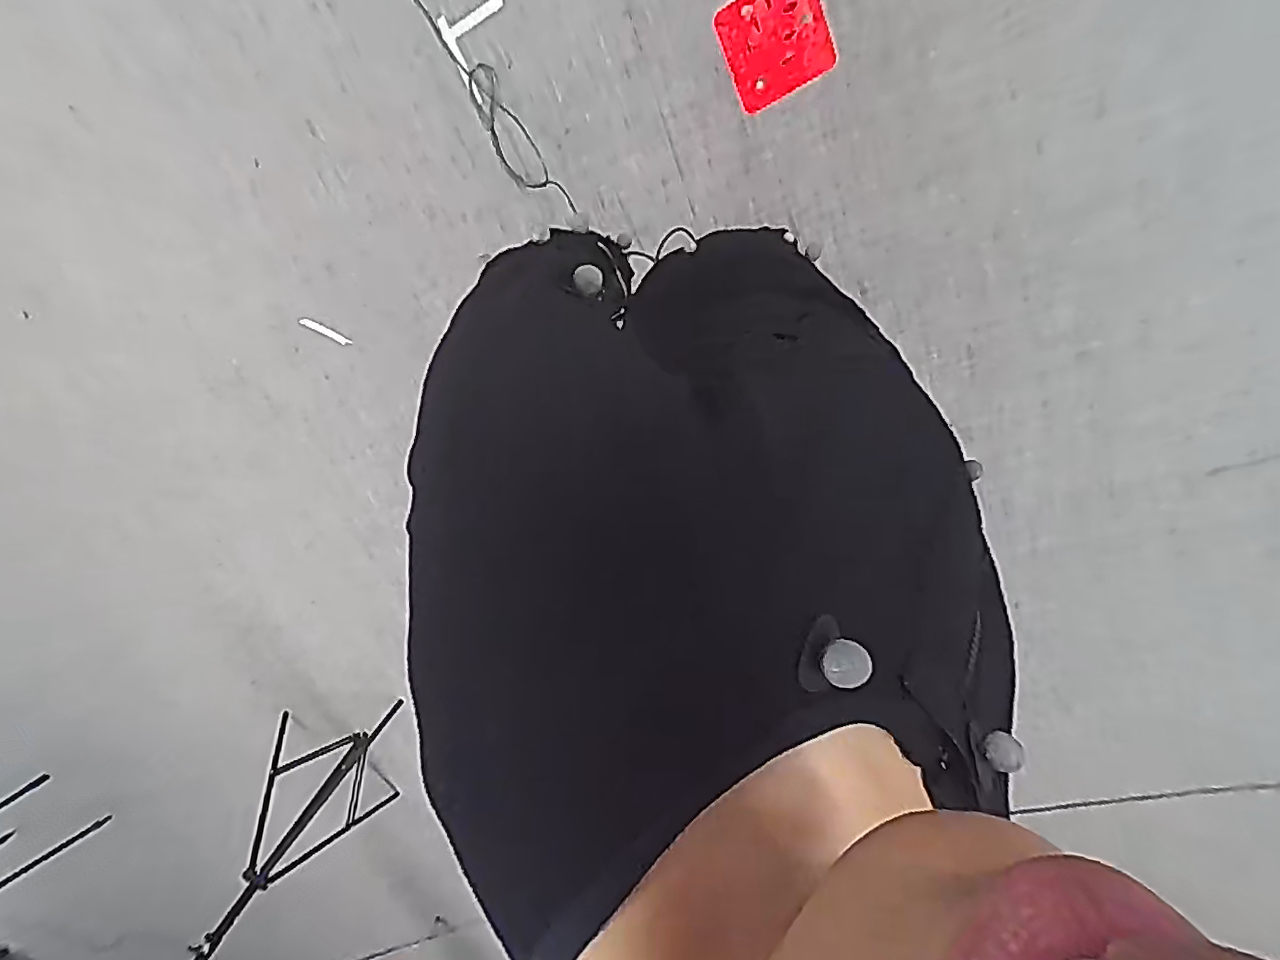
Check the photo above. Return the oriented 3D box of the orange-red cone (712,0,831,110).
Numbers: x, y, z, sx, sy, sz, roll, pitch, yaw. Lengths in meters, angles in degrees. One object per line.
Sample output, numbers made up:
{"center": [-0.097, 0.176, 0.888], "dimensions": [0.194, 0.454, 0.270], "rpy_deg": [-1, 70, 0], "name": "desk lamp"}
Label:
{"center": [0.238, -0.816, 0.933], "dimensions": [0.199, 0.360, 0.198], "rpy_deg": [-21, 110, 18], "name": "orange-red cone"}
